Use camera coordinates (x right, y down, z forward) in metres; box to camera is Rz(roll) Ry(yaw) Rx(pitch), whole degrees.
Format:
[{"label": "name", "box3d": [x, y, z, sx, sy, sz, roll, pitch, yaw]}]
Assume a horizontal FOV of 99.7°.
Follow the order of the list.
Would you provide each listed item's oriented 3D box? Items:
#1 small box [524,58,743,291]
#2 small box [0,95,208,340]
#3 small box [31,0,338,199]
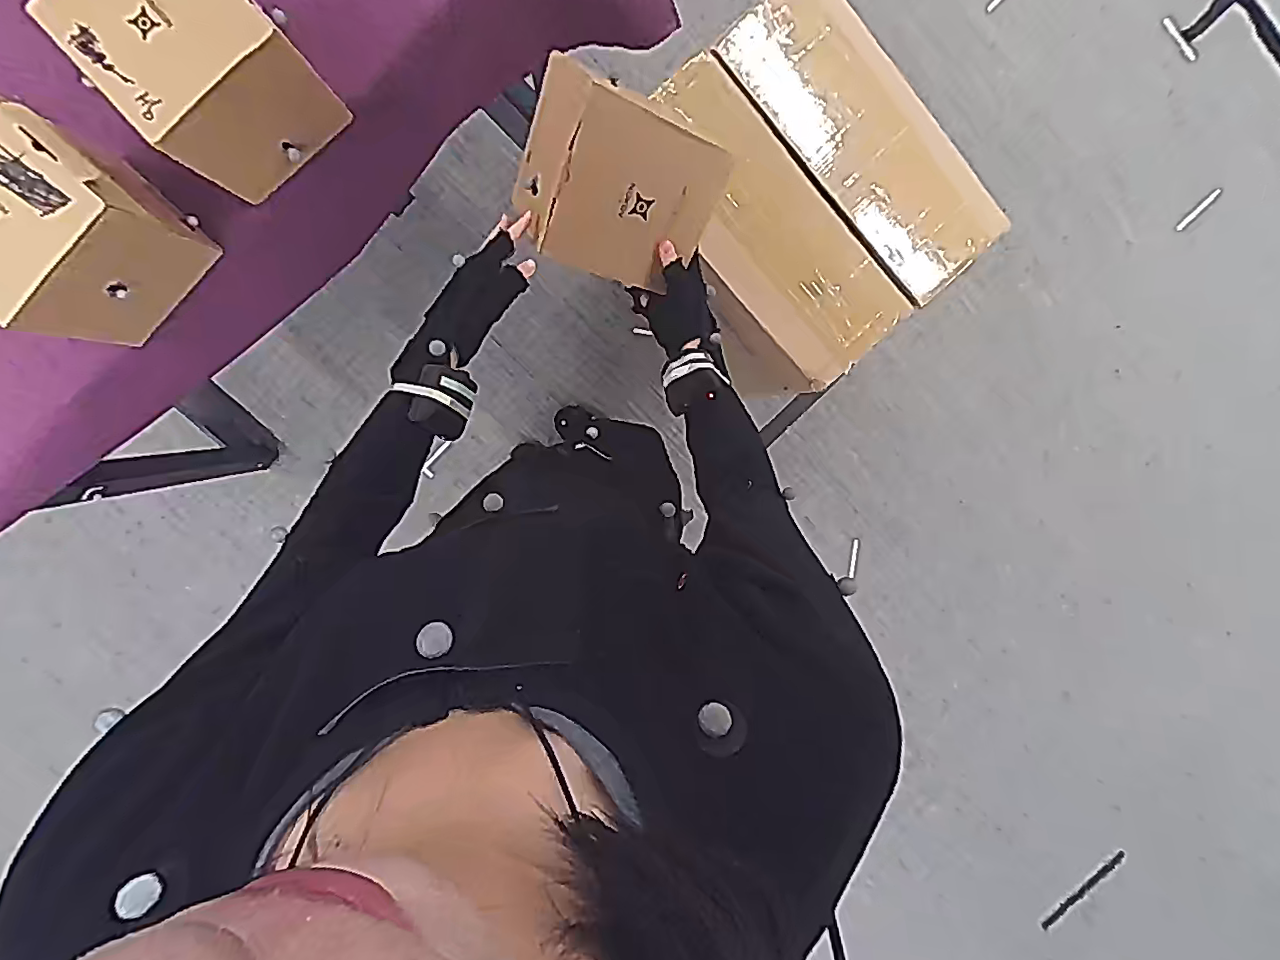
[{"label": "small box", "box3d": [-0.021, -0.350, 0.624, 0.179, 0.176, 0.168, 6, 131, -31]}, {"label": "small box", "box3d": [-0.658, -0.286, 0.623, 0.168, 0.176, 0.179, 44, 94, -6]}, {"label": "small box", "box3d": [-0.482, -0.466, 0.613, 0.179, 0.176, 0.168, -41, 97, 1]}]
